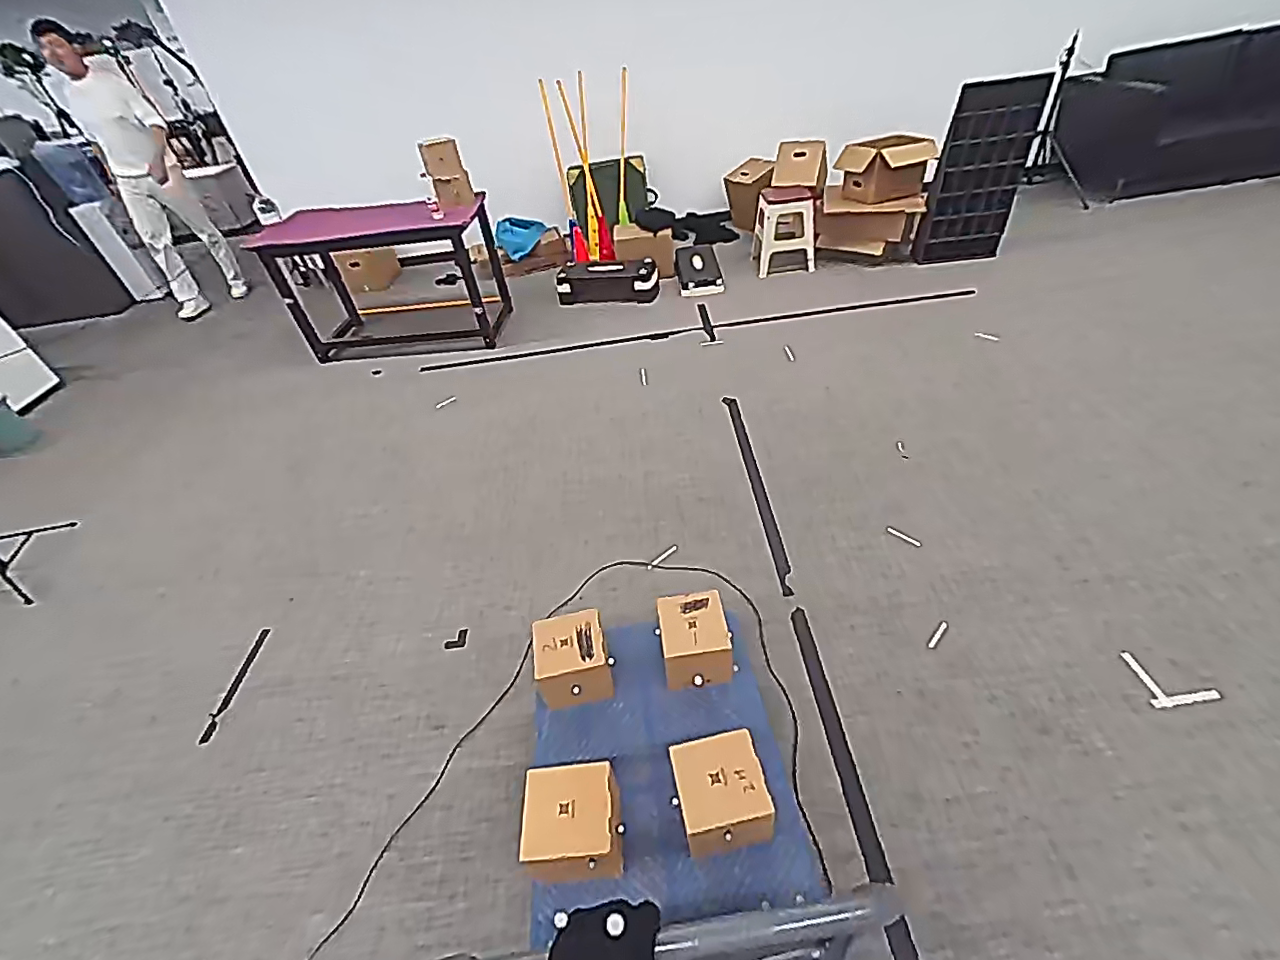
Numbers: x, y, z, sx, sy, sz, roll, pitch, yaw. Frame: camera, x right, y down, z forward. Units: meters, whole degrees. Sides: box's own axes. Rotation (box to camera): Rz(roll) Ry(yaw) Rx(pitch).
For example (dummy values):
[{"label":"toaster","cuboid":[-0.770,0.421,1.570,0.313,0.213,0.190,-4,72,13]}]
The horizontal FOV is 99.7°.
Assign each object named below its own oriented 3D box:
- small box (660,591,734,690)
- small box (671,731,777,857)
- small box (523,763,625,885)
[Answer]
[{"label":"small box","cuboid":[0.145,0.418,1.405,0.168,0.176,0.179,-9,43,0]},{"label":"small box","cuboid":[0.174,0.659,1.130,0.179,0.176,0.168,-12,42,-3]},{"label":"small box","cuboid":[-0.130,0.715,1.121,0.179,0.176,0.168,-7,41,0]}]
